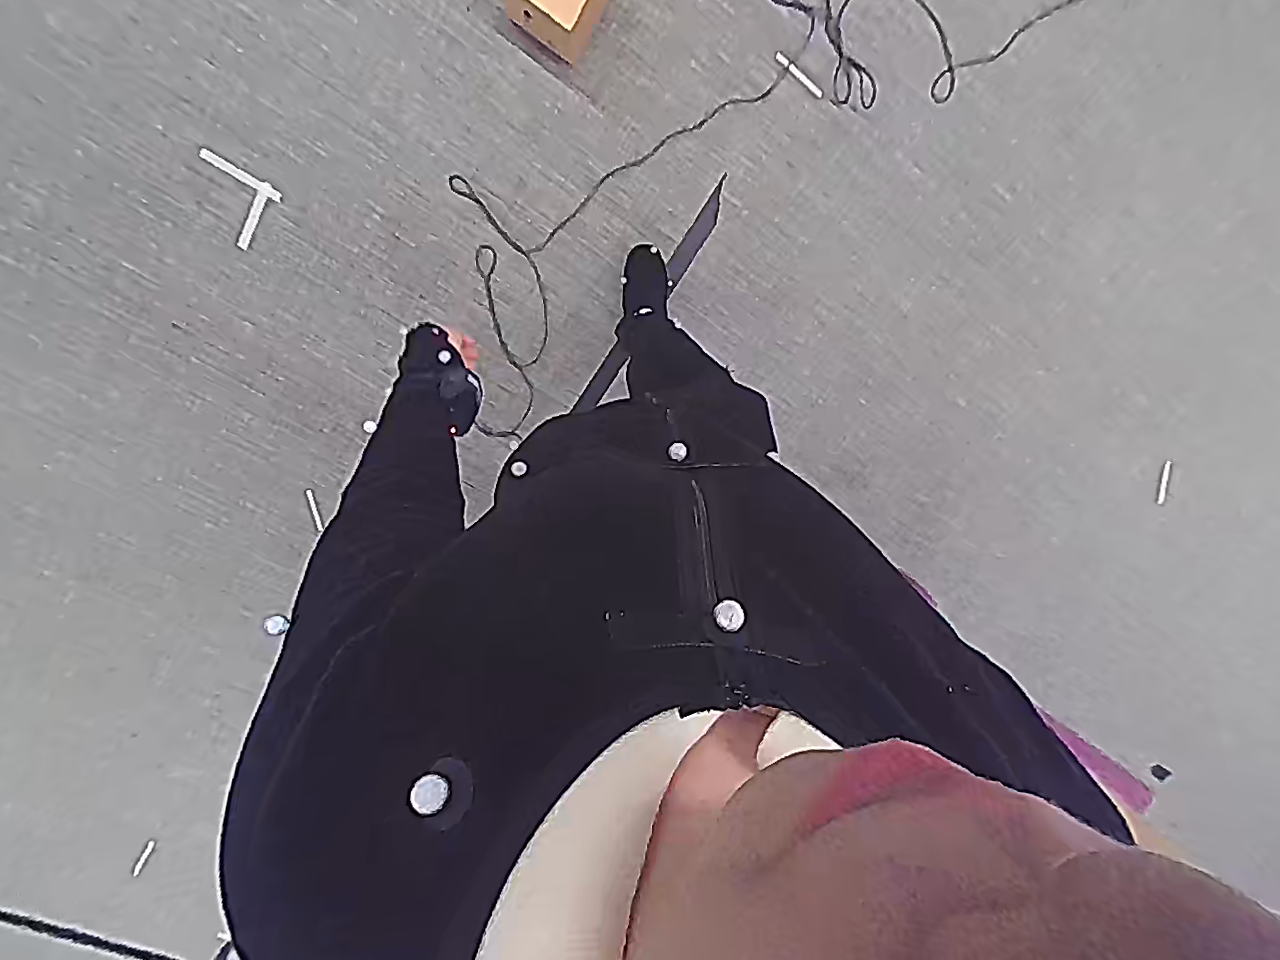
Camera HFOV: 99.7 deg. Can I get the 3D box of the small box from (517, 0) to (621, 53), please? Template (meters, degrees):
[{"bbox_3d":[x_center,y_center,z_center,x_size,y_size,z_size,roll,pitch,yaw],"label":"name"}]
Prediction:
[{"bbox_3d":[-0.145,-0.995,1.044,0.179,0.176,0.168,28,84,6],"label":"small box"}]
